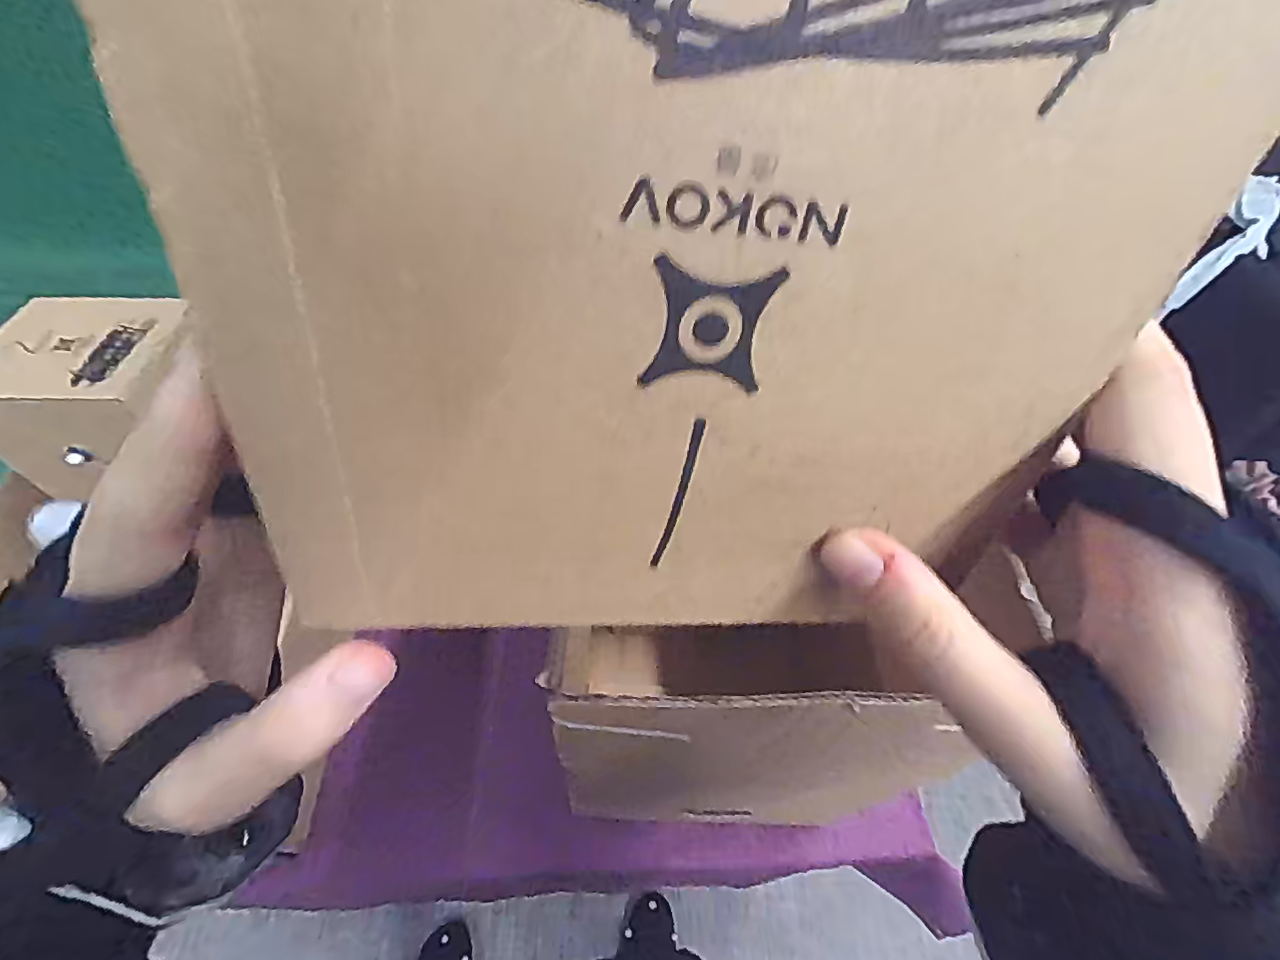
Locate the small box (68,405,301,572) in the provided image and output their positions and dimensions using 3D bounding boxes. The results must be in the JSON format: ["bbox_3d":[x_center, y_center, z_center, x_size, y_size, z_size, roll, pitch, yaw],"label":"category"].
[{"bbox_3d":[-0.592,0.017,0.747,0.168,0.176,0.179,0,52,-3],"label":"small box"}]
